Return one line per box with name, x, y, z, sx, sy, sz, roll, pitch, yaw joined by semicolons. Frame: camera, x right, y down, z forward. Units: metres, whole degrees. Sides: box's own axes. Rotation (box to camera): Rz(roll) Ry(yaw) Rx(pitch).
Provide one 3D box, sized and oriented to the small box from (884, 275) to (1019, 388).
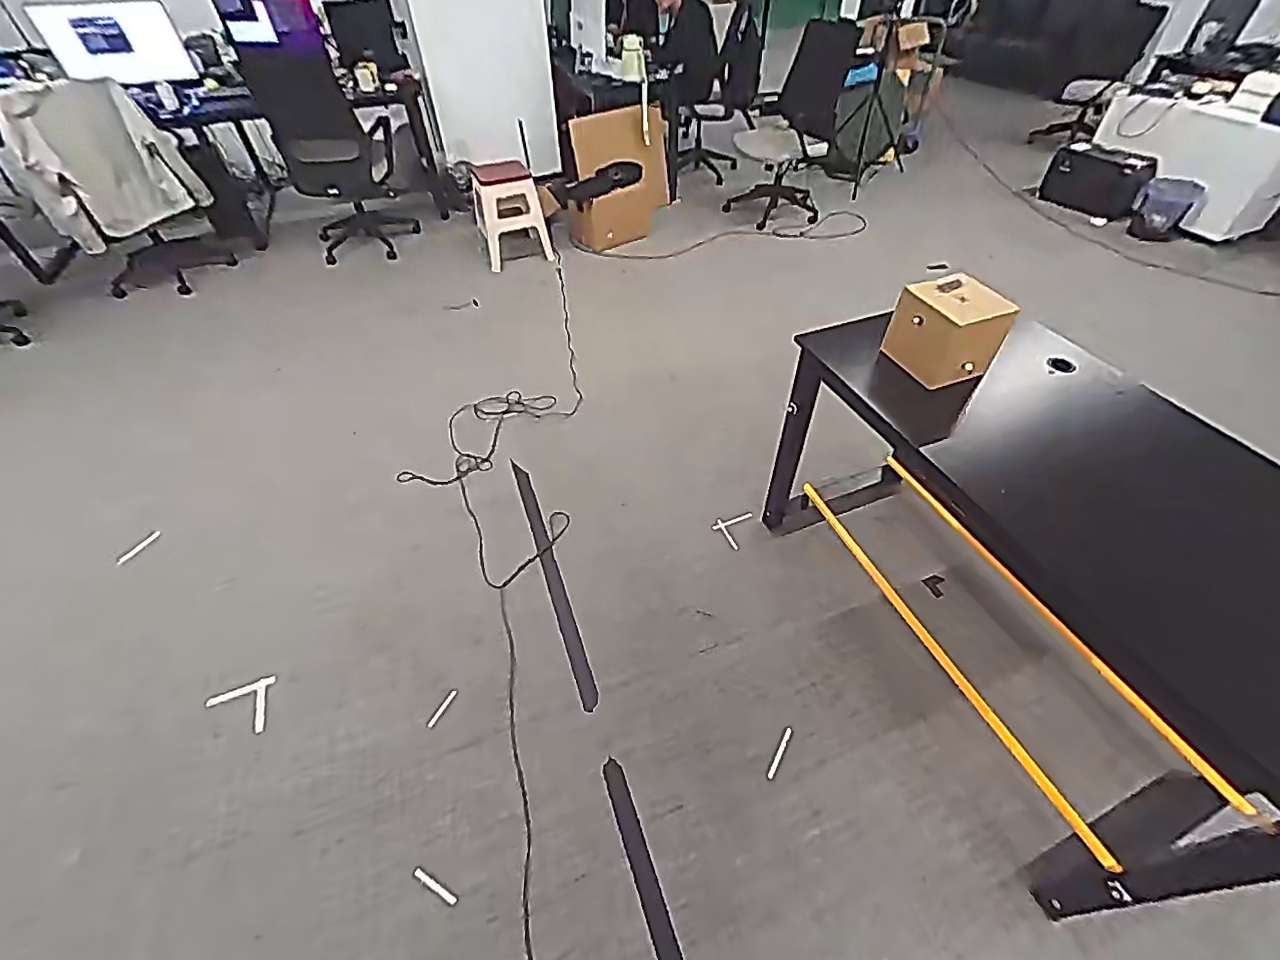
small box;0.692;-0.337;1.227;0.168;0.176;0.179;-17;50;-14
